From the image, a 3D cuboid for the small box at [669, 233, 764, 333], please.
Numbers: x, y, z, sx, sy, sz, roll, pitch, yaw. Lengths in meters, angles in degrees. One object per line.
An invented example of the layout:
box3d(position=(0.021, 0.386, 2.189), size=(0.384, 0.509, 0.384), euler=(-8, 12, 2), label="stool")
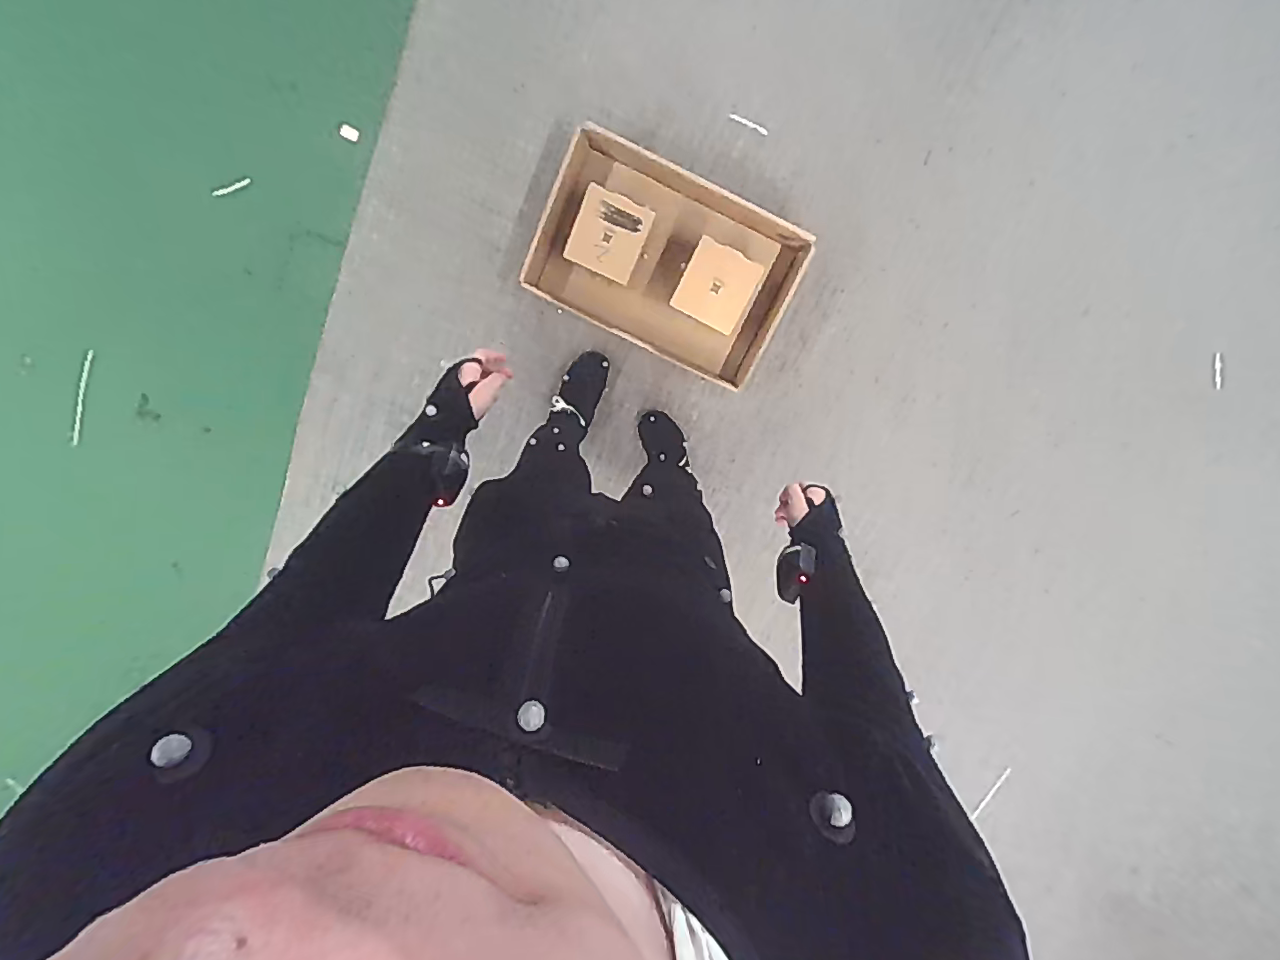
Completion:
box3d(position=(0.186, -0.479, 1.344), size=(0.168, 0.176, 0.179), euler=(27, 105, -3), label="small box")
